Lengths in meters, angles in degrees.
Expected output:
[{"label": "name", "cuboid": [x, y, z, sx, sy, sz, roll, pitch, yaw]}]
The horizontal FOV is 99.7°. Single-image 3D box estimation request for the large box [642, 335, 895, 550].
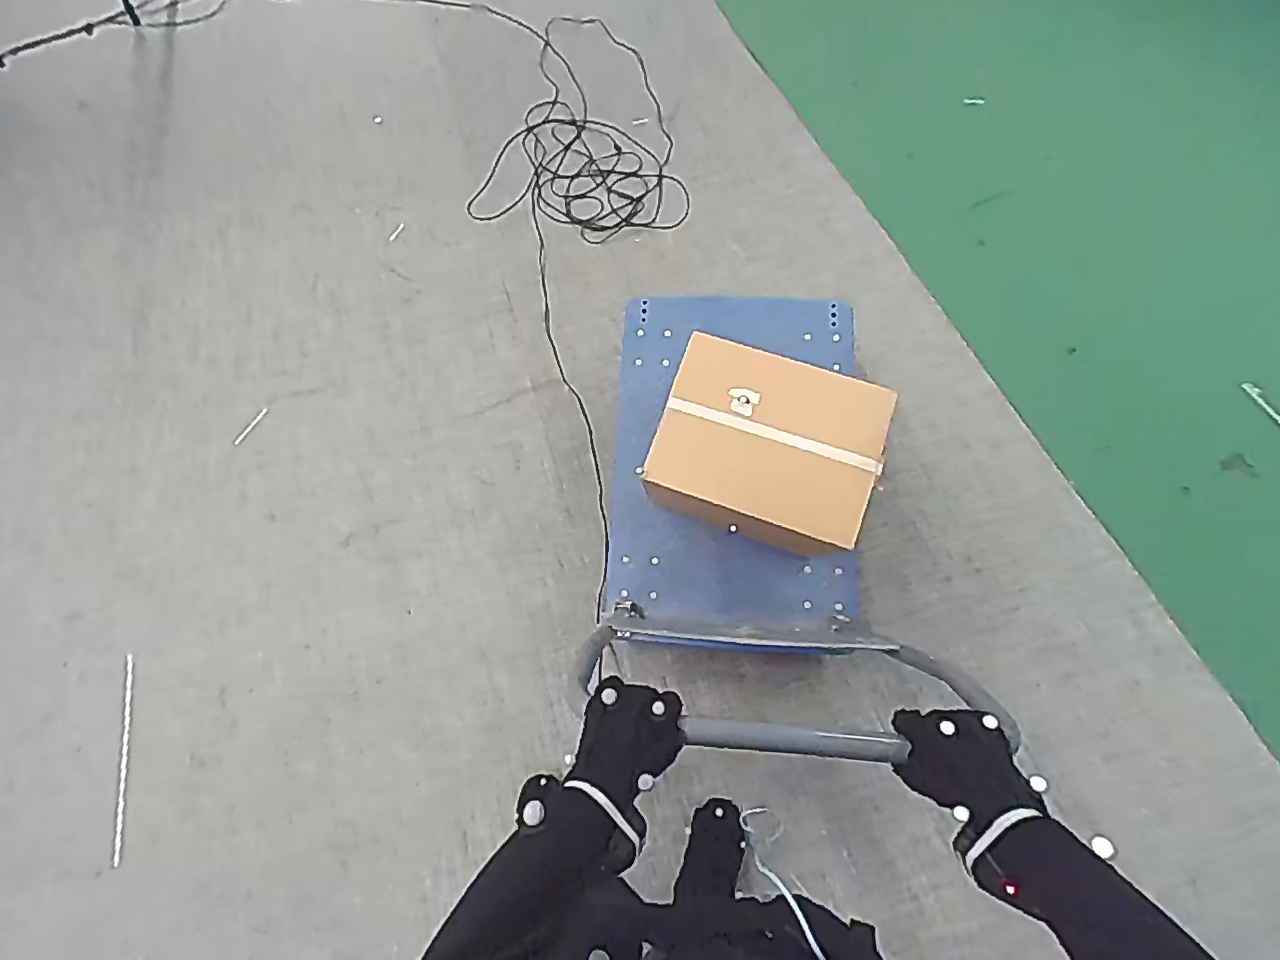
[{"label": "large box", "cuboid": [0.254, -0.059, 1.149, 0.408, 0.320, 0.320, 18, 82, 9]}]
